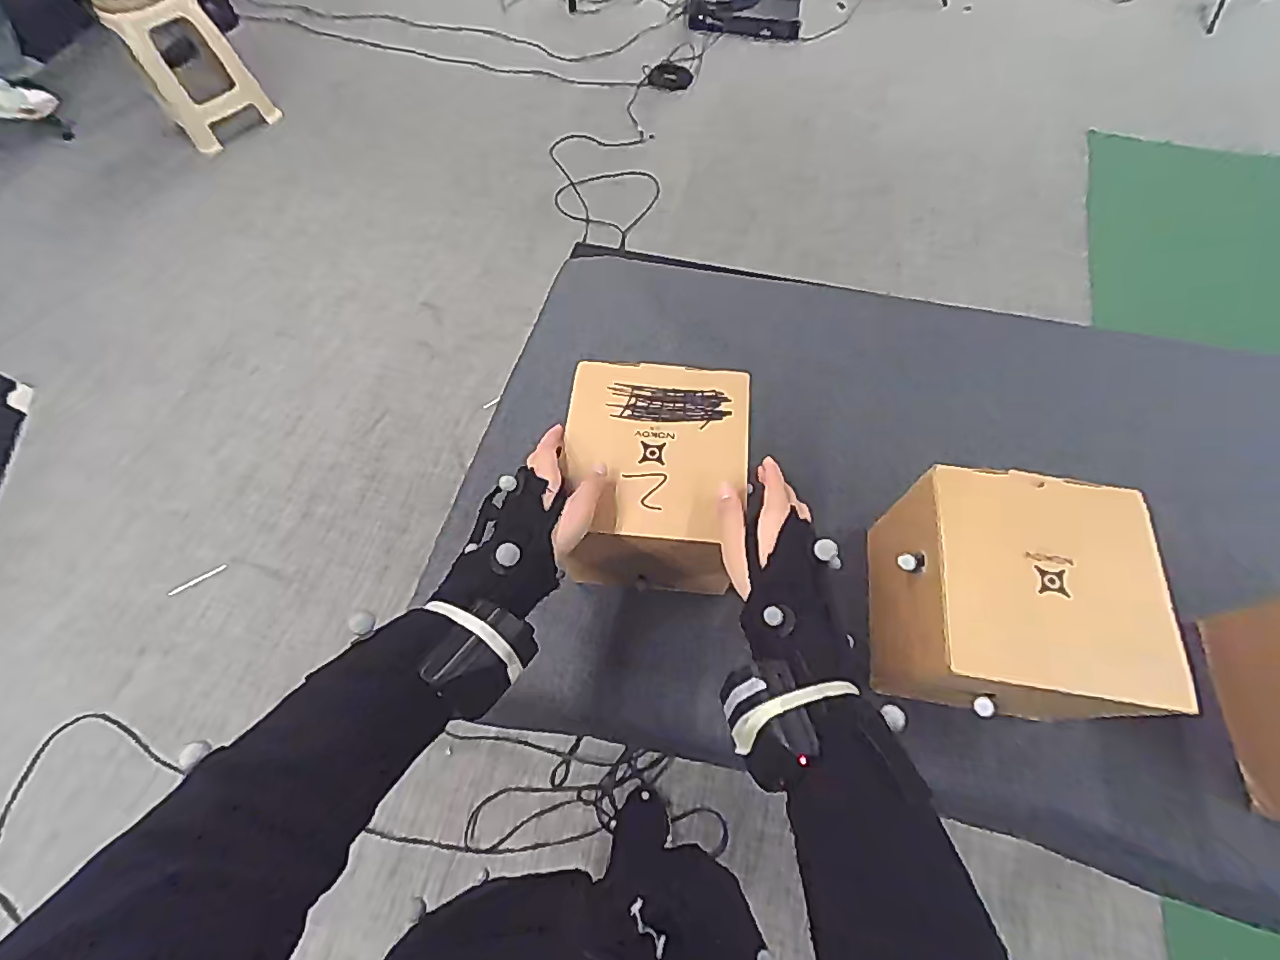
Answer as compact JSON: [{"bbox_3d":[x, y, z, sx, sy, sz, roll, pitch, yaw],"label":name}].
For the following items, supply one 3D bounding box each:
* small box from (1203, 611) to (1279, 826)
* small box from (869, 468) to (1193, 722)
[{"bbox_3d":[0.629,0.198,0.436,0.168,0.176,0.179,6,64,6],"label":"small box"},{"bbox_3d":[0.319,0.112,0.489,0.168,0.176,0.179,8,63,6],"label":"small box"}]
